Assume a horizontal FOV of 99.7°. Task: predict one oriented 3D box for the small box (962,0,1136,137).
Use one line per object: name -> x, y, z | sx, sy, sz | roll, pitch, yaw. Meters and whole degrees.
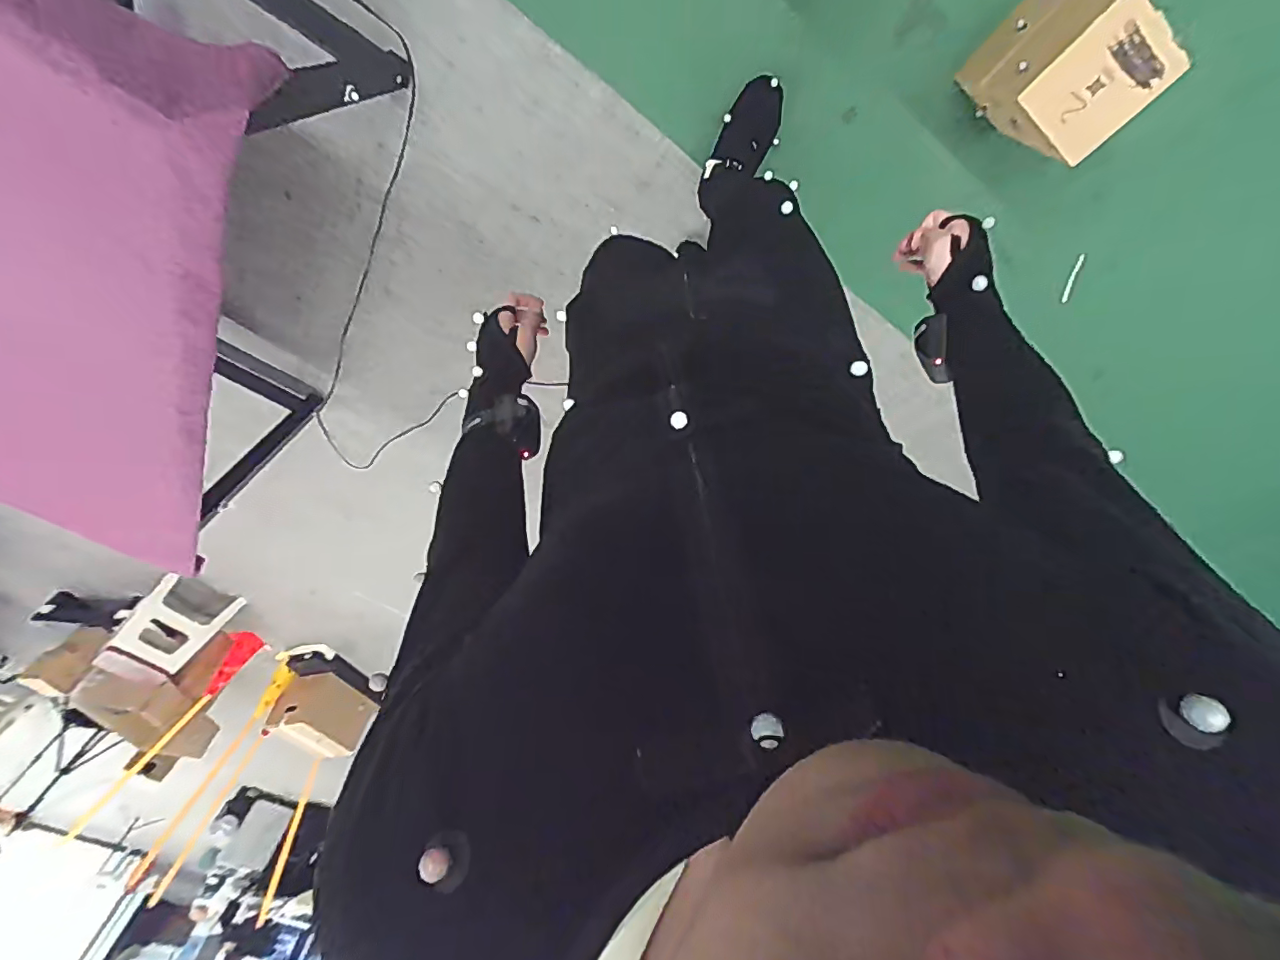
small box -> 0.747, -0.791, 1.008 | 0.168, 0.176, 0.179 | 33, 130, -19
